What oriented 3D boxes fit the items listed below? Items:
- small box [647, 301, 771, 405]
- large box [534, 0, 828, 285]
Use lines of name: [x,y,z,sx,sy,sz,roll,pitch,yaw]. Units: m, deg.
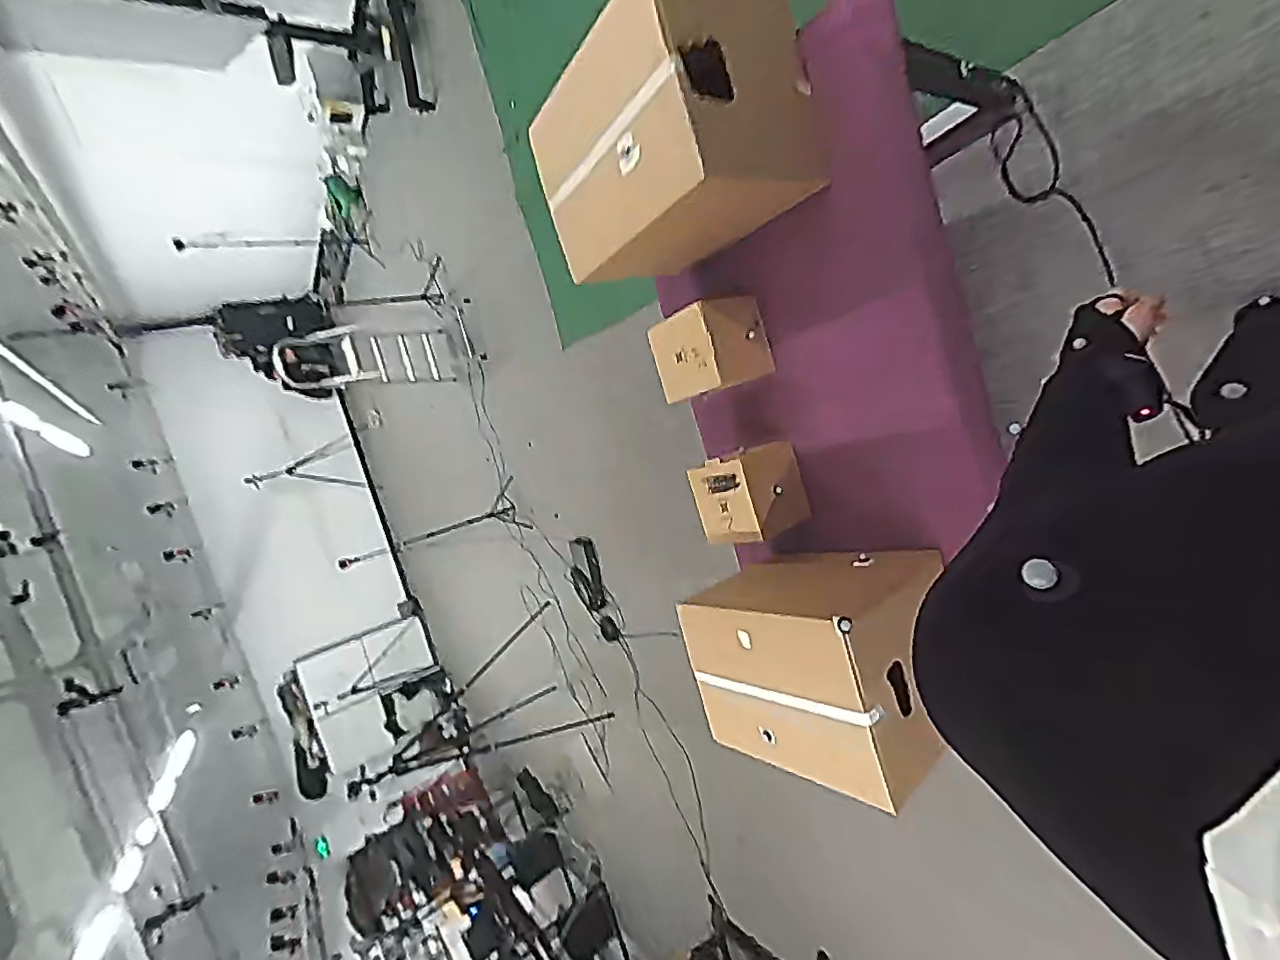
small box: [0.147,-0.269,1.151,0.179,0.176,0.168,-11,97,54]
large box: [0.060,-0.595,0.996,0.408,0.320,0.320,-10,99,54]
